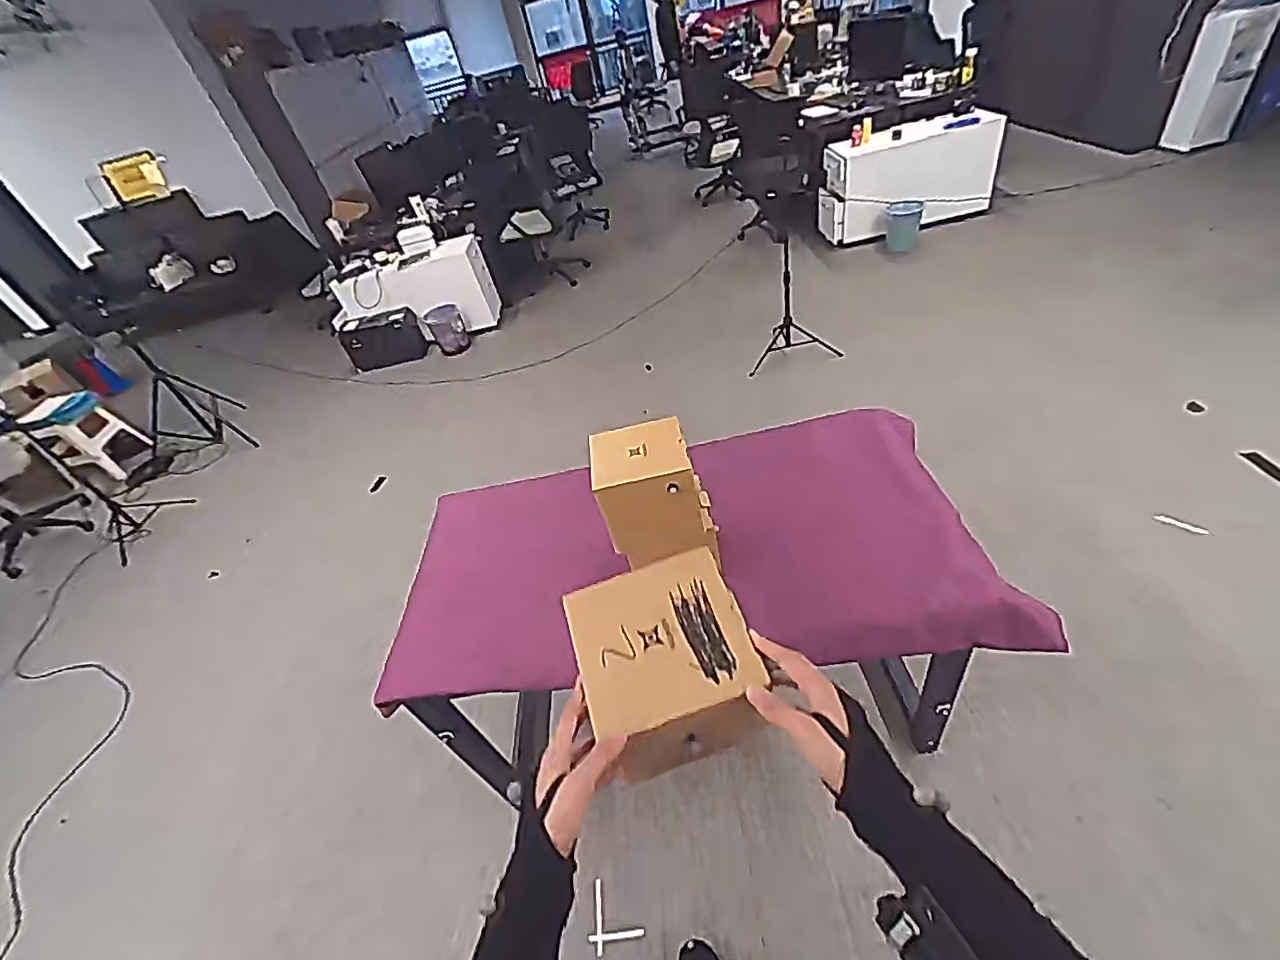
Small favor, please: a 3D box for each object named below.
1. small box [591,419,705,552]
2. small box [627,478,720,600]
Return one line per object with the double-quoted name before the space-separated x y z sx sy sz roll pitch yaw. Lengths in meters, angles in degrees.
"small box" 0.014 0.015 1.014 0.179 0.176 0.168 -13 40 3
"small box" 0.065 0.125 1.126 0.179 0.176 0.168 -12 39 3
